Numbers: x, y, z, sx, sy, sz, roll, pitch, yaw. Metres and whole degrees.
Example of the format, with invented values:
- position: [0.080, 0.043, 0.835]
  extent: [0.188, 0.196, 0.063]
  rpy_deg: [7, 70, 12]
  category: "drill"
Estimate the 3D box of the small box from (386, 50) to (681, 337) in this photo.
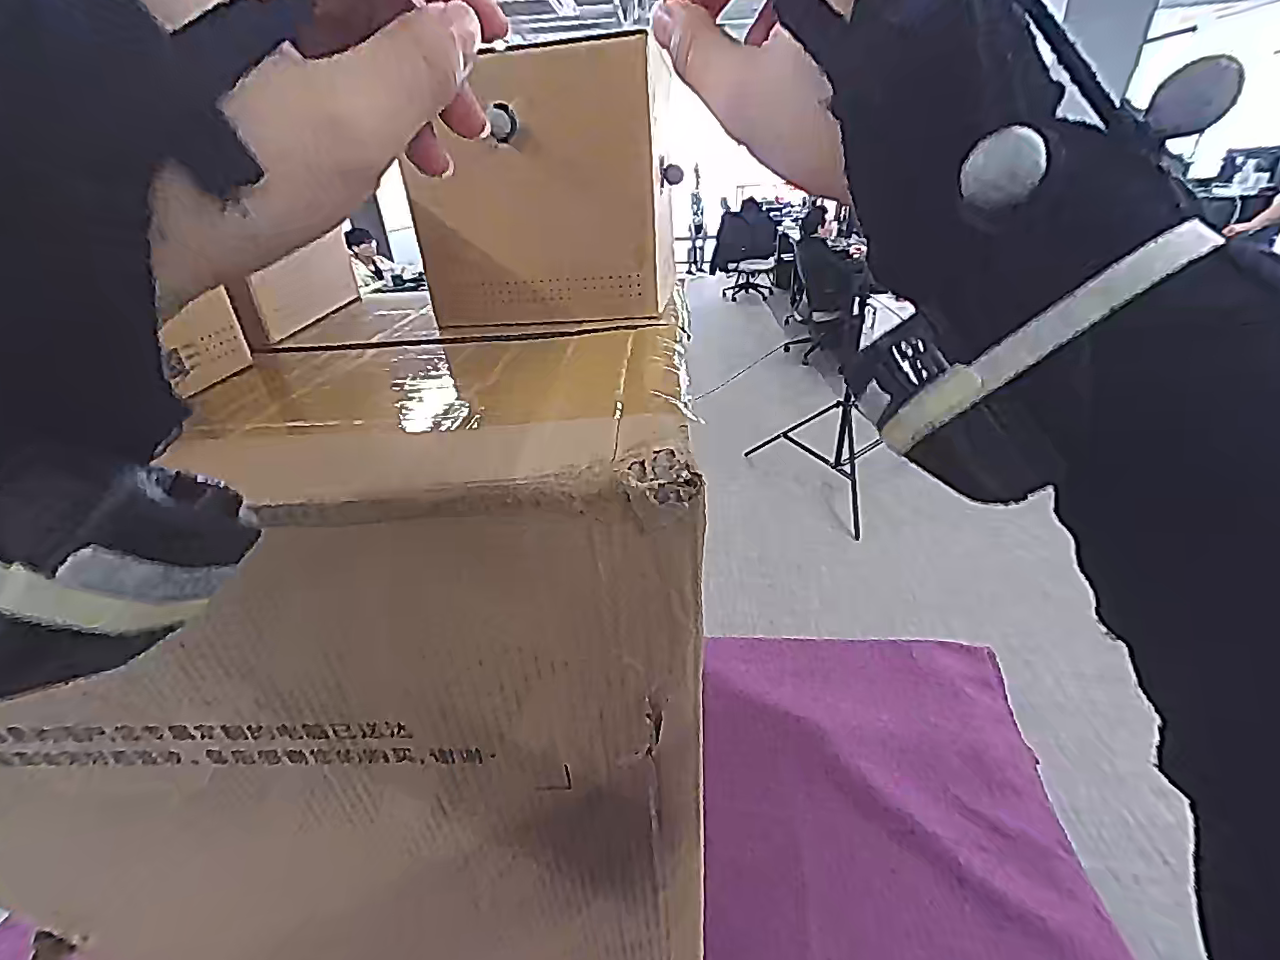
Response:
- position: [-0.059, -0.220, 0.435]
  extent: [0.179, 0.176, 0.168]
  rpy_deg: [0, 30, 9]
  category: "small box"
